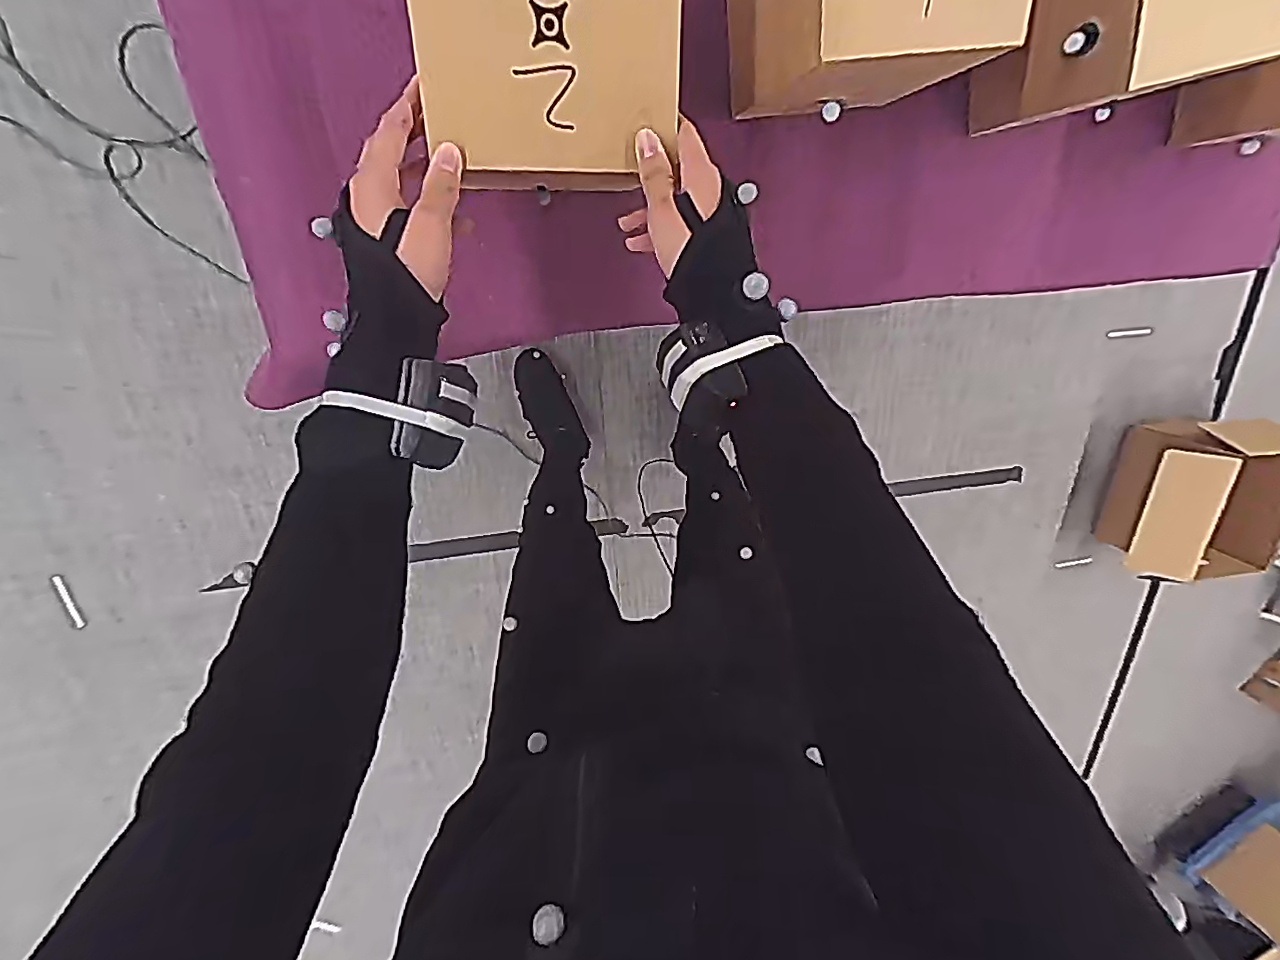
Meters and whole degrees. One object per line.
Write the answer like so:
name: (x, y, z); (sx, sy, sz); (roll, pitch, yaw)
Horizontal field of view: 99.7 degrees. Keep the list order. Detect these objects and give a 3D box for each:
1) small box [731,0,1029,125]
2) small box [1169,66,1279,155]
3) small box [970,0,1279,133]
small box: (0.176, -0.408, 0.429); (0.168, 0.176, 0.179); (-11, 114, -9)
small box: (0.691, -0.444, 0.535); (0.168, 0.176, 0.179); (-10, 112, -8)
small box: (0.425, -0.430, 0.478); (0.168, 0.176, 0.179); (-16, 113, -7)
